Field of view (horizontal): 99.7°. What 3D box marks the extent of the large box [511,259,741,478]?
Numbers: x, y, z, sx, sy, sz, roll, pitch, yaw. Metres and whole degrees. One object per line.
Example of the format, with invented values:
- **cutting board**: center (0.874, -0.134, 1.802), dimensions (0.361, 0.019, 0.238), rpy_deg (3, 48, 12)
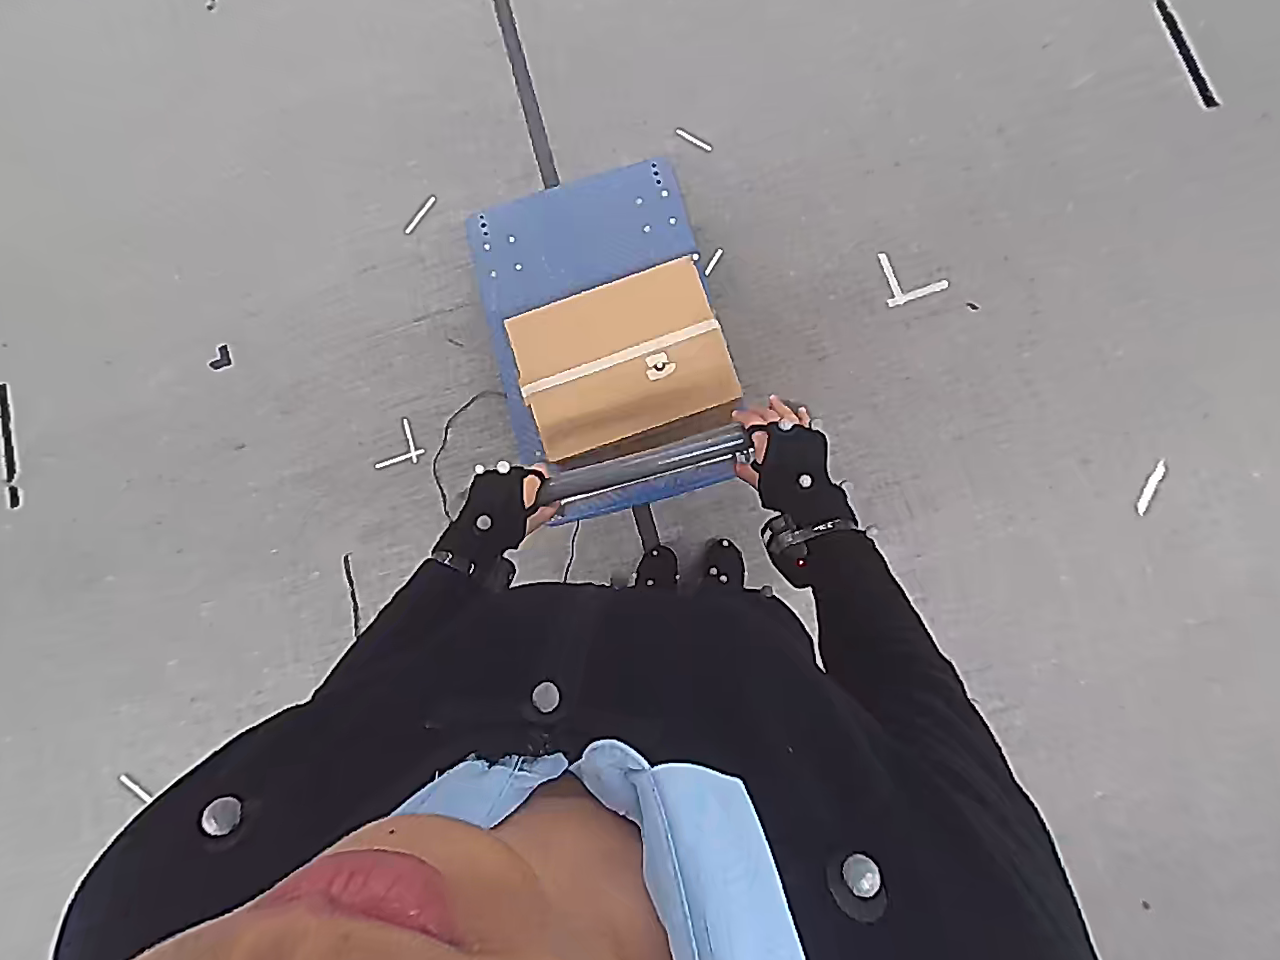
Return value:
- **large box**: center (-0.026, -0.227, 1.234), dimensions (0.408, 0.320, 0.320), rpy_deg (-19, 83, 1)
